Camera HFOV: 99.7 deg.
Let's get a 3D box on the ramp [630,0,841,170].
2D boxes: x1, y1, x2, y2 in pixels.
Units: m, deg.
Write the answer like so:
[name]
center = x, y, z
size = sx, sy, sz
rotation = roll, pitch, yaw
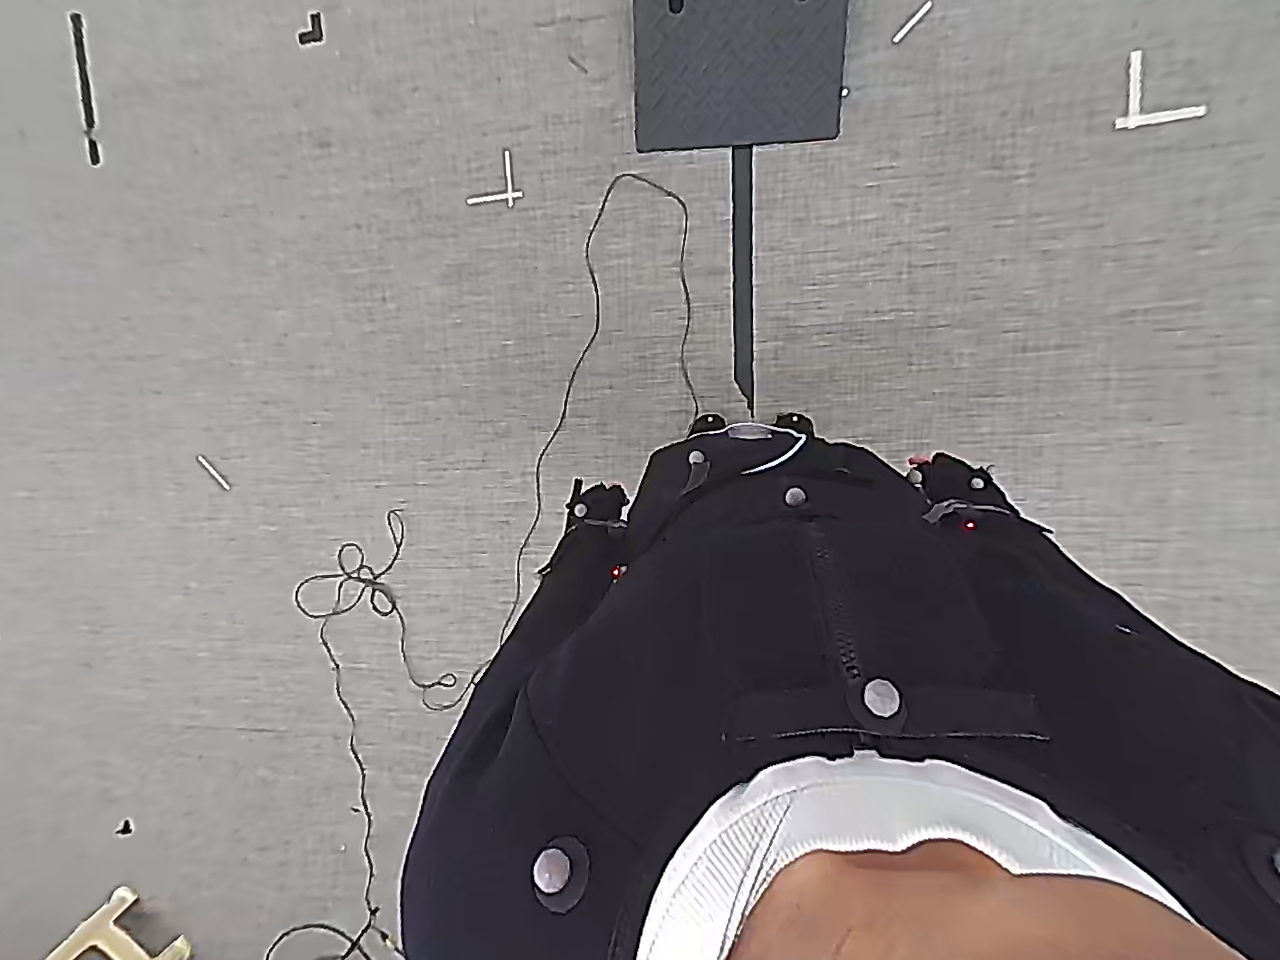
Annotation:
[ramp]
center = 0.212, -1.280, 1.221
size = 0.509, 0.206, 0.991
rotation = -2, 96, 8
